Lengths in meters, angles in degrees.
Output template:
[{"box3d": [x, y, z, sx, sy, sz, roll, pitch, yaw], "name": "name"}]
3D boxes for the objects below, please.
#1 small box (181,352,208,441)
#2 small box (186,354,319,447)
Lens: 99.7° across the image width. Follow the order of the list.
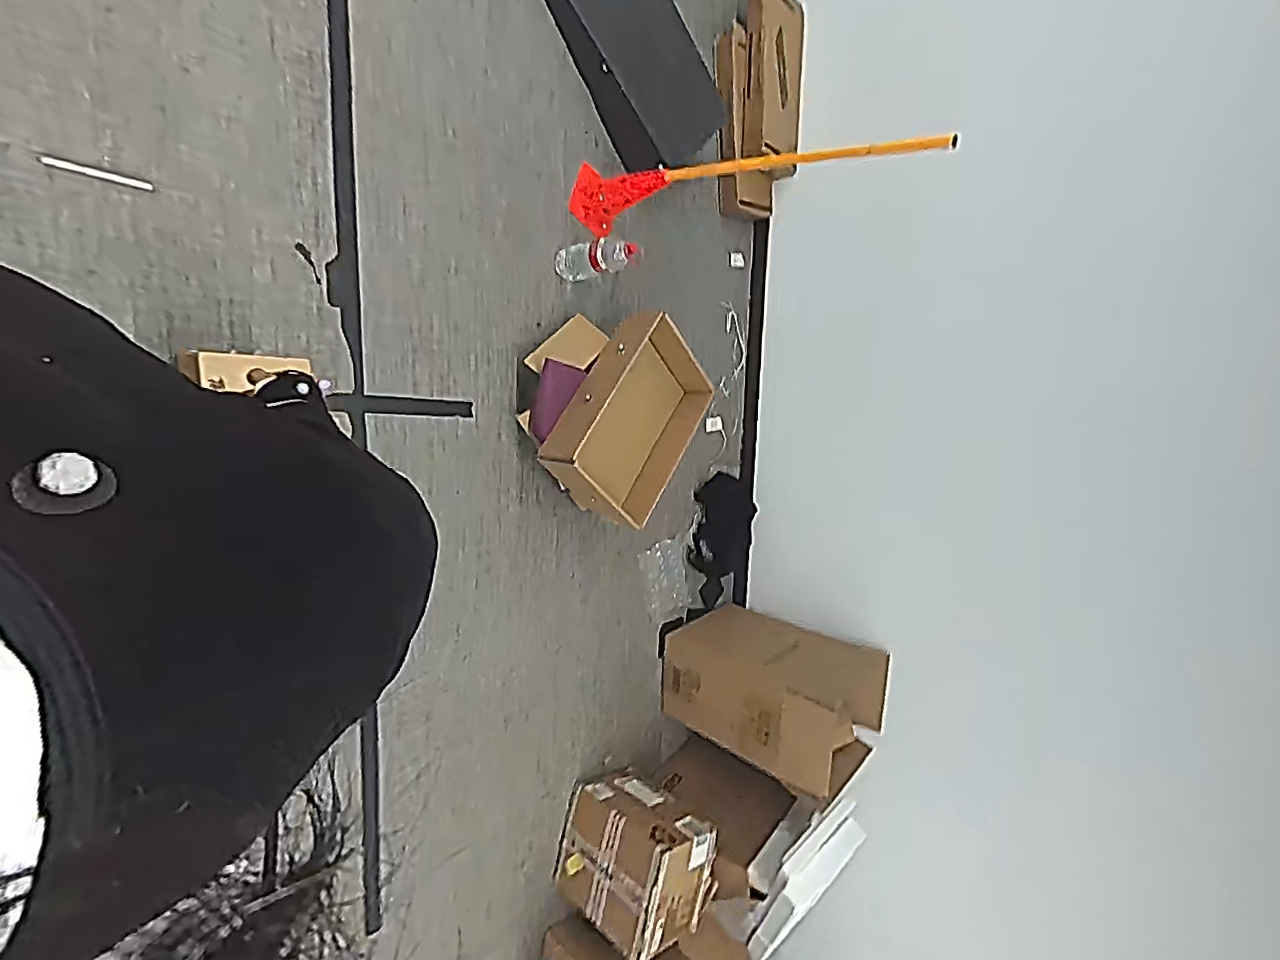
[{"box3d": [-0.878, -0.176, 1.175, 0.168, 0.176, 0.179, -5, 99, -47], "name": "small box"}, {"box3d": [-0.760, -0.156, 1.063, 0.179, 0.176, 0.168, -8, 102, -47], "name": "small box"}]
